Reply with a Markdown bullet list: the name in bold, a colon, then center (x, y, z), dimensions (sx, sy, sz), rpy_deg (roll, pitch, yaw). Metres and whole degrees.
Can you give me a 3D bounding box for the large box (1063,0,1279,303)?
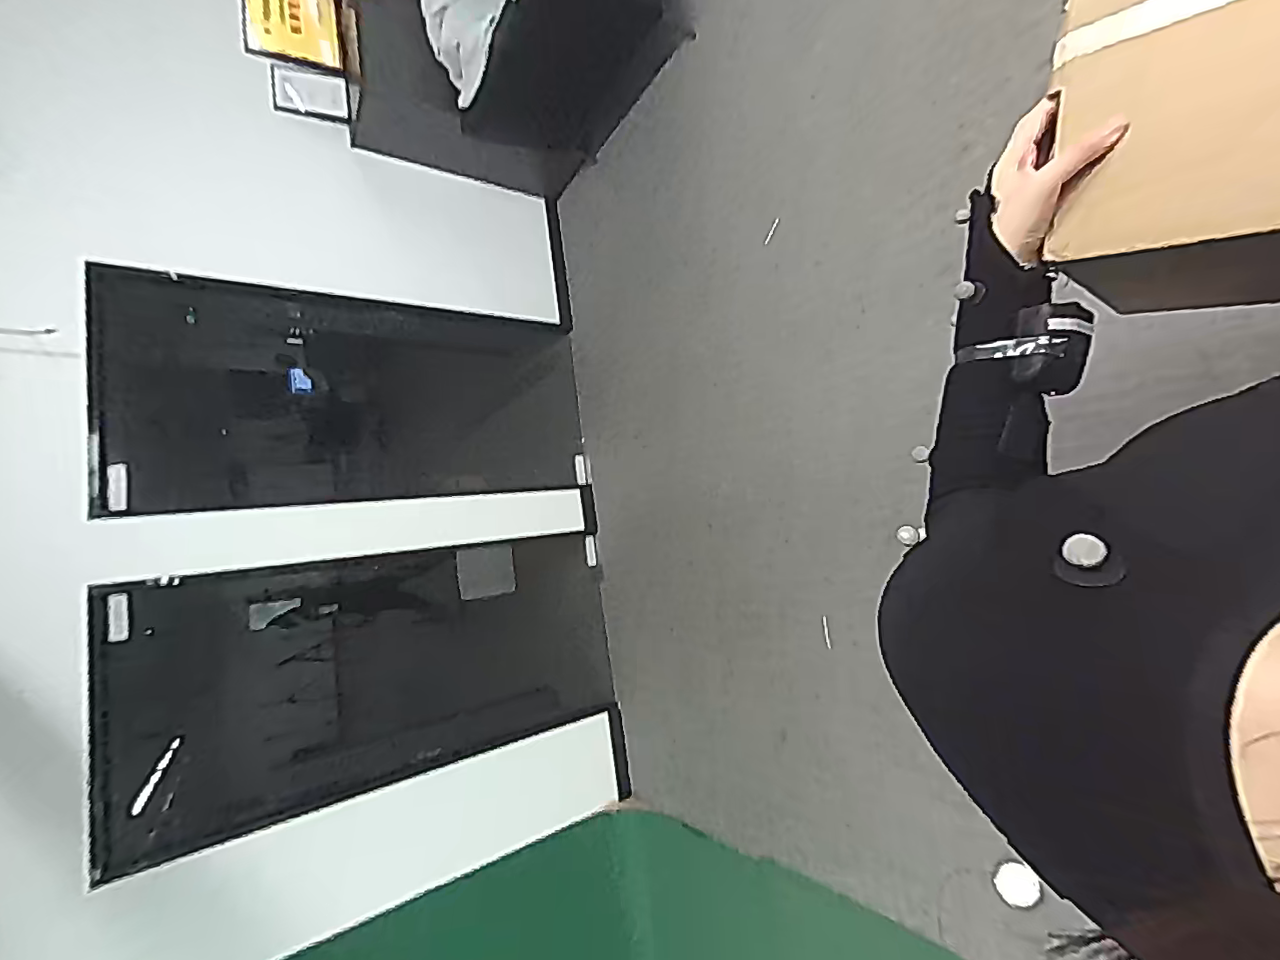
- **large box**: center (0.576, -0.324, 0.360), dimensions (0.408, 0.320, 0.320), rpy_deg (10, 102, 48)
